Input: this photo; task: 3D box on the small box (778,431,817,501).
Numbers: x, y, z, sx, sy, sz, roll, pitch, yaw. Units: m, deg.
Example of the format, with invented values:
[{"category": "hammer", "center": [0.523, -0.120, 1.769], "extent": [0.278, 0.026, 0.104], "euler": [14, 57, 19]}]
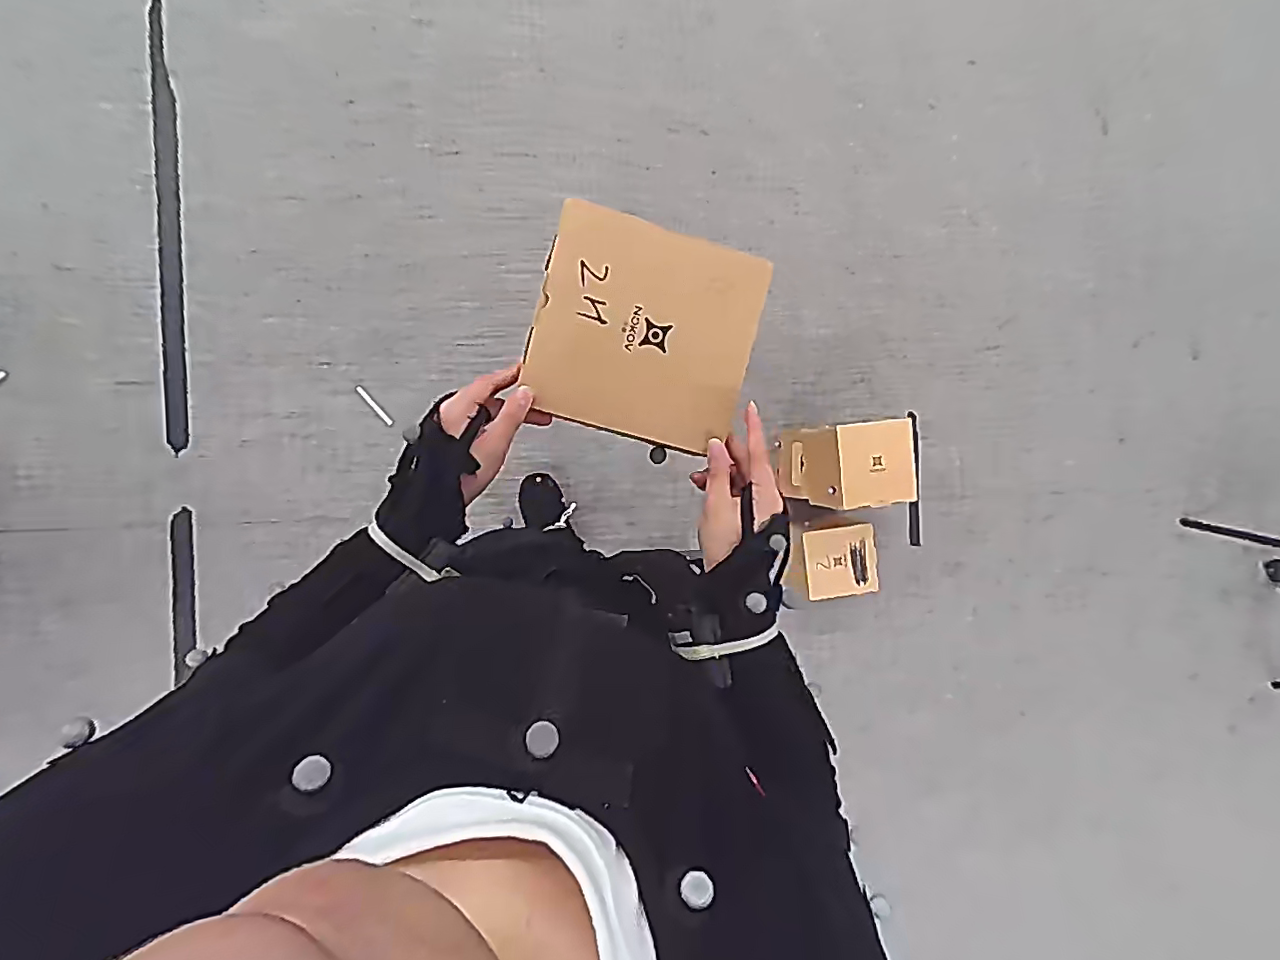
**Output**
[{"category": "small box", "center": [0.455, -0.032, 1.348], "extent": [0.179, 0.176, 0.168], "euler": [1, 92, -7]}]

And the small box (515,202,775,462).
[{"category": "small box", "center": [-0.003, -0.121, 0.507], "extent": [0.179, 0.176, 0.168], "euler": [15, 93, -7]}]

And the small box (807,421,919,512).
[{"category": "small box", "center": [0.481, -0.030, 1.187], "extent": [0.168, 0.176, 0.179], "euler": [-7, 93, -6]}]
